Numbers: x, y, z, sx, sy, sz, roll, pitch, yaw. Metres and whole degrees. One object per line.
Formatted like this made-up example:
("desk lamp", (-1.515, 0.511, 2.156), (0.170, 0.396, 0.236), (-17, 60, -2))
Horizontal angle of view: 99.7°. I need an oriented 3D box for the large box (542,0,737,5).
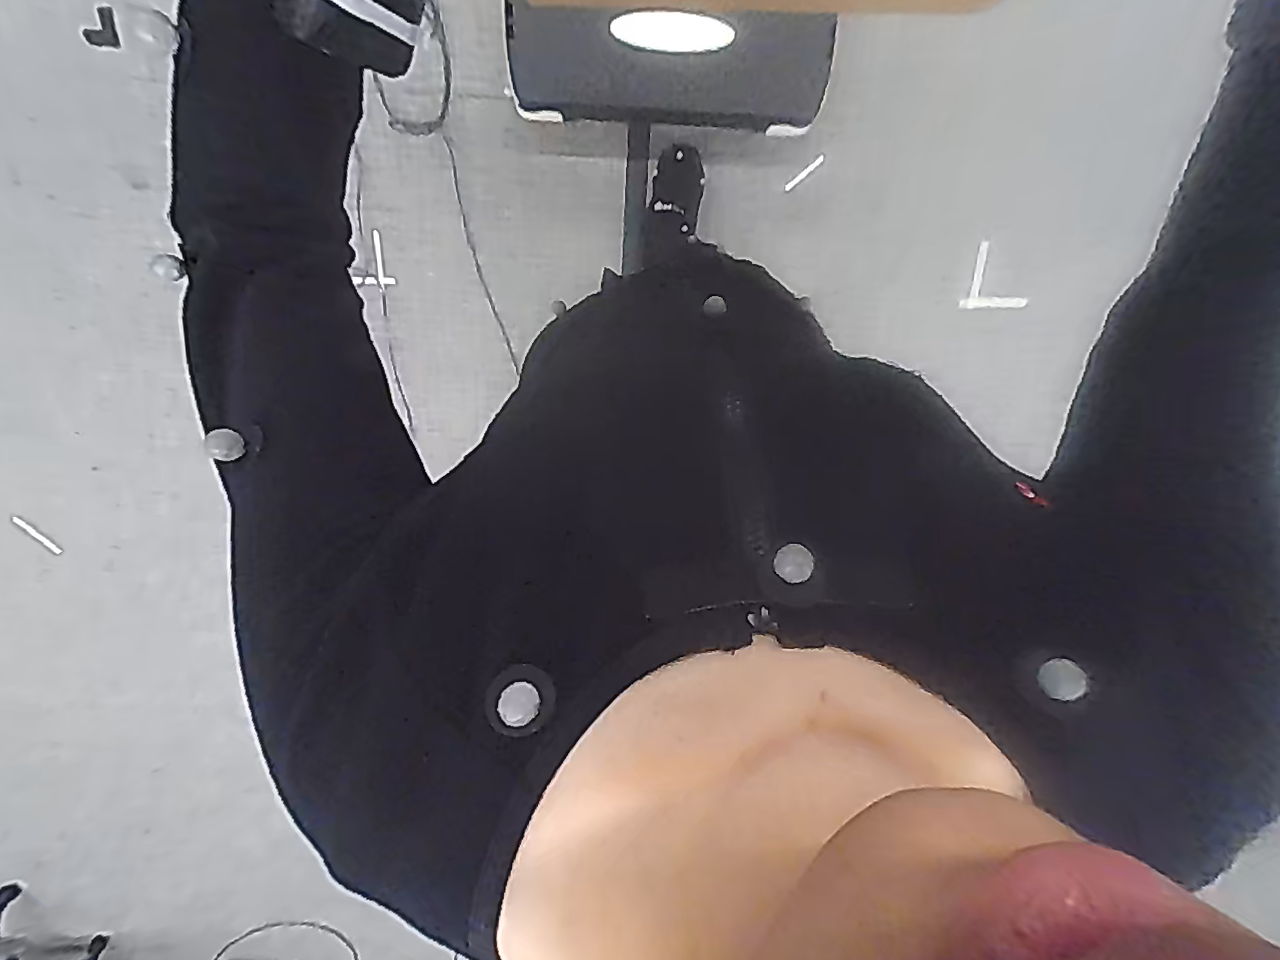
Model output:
("large box", (0.102, -0.503, 0.284), (0.408, 0.320, 0.320), (-1, 115, -2))
